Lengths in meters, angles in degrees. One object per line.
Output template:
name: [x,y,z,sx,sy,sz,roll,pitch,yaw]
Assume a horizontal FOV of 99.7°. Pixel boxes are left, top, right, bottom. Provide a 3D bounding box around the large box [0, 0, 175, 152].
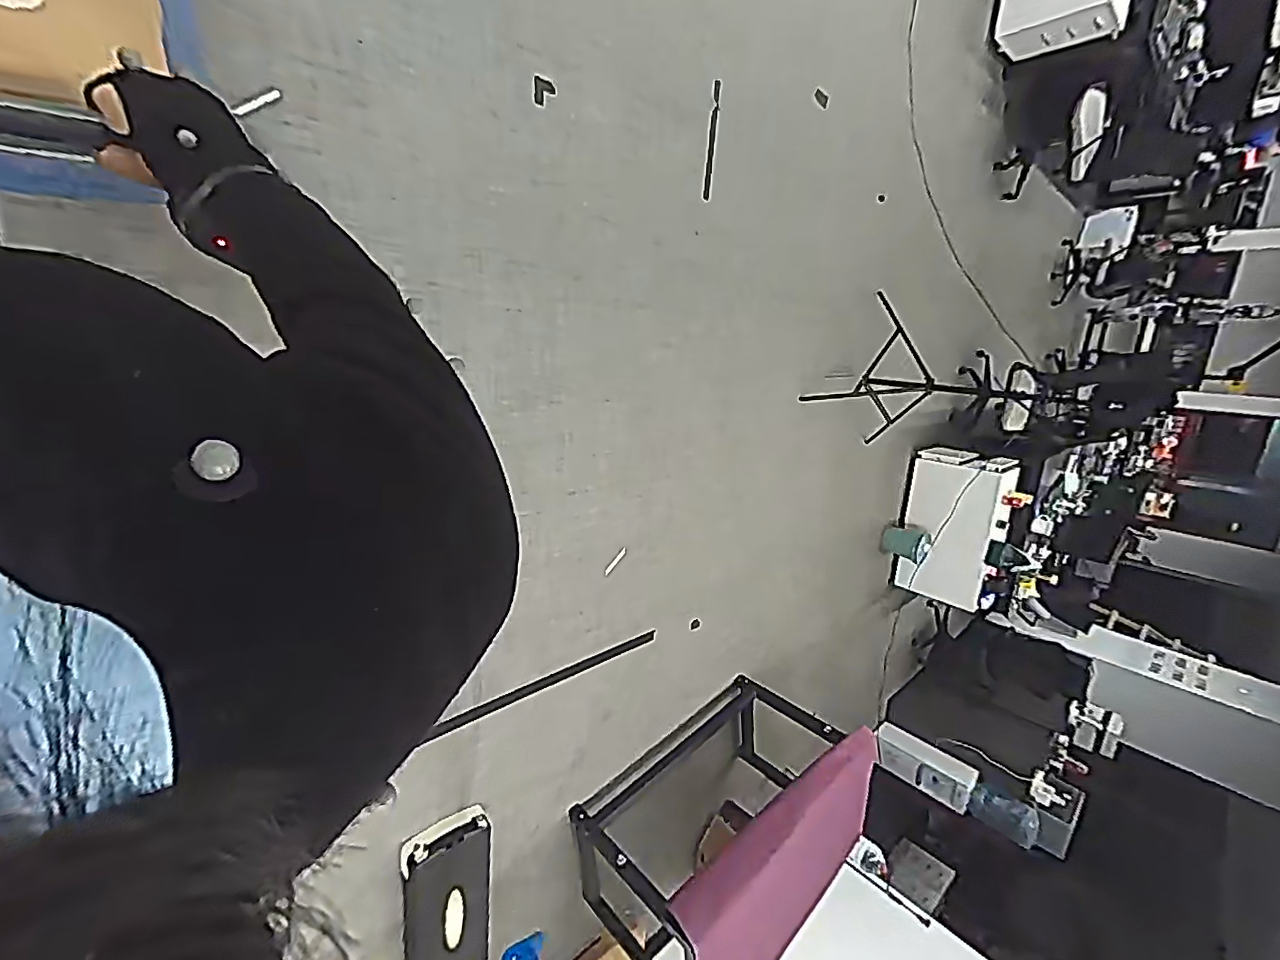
large box: [-0.886,-0.640,0.671,0.408,0.320,0.320,-16,116,-41]
